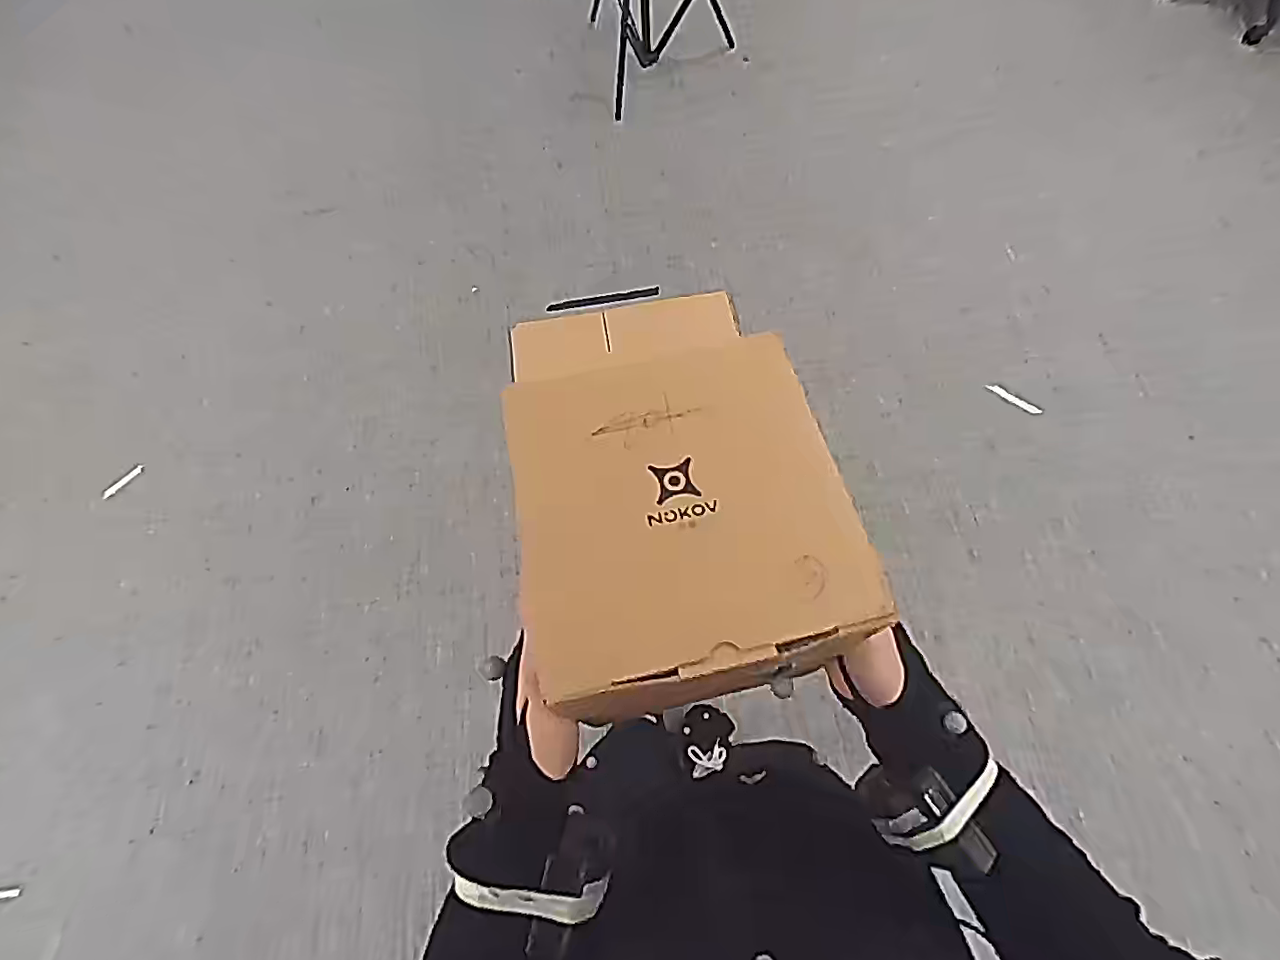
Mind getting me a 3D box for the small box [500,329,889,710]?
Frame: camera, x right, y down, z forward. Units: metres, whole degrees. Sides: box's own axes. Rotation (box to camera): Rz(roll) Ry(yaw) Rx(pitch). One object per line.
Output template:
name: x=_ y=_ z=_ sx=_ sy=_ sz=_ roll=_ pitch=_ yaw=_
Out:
small box: x=0.020 y=0.039 z=0.347 sx=0.168 sy=0.176 sz=0.179 roll=-12 pitch=62 yaw=-5
